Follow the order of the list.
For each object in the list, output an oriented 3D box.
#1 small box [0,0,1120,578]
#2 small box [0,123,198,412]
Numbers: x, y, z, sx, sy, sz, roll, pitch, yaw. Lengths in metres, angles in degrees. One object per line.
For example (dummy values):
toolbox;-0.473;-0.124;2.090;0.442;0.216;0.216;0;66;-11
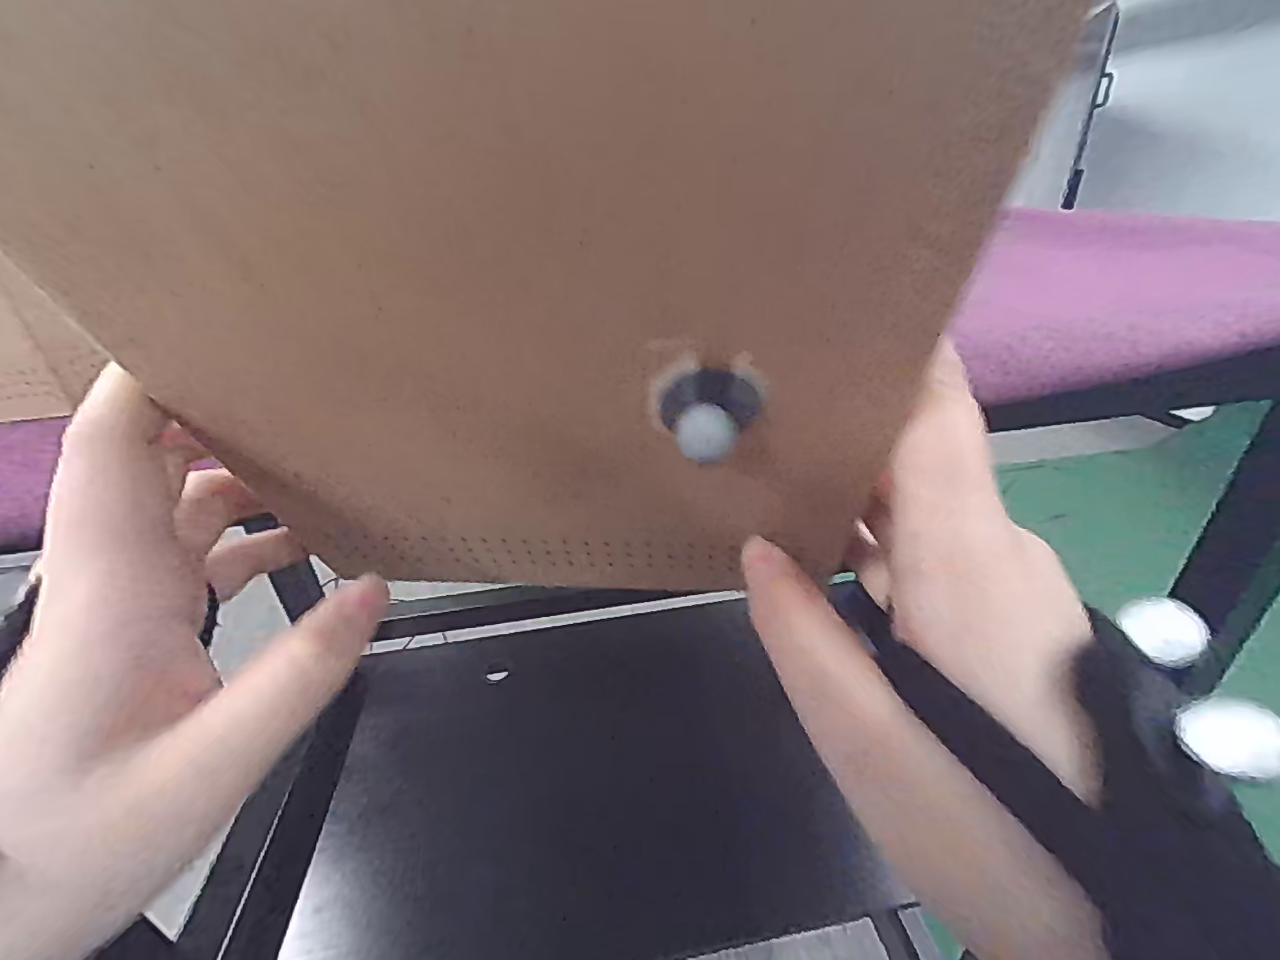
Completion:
small box;-0.013;-0.078;0.186;0.179;0.176;0.168;0;51;5
small box;-0.405;-0.144;0.334;0.168;0.176;0.179;-6;29;-8
